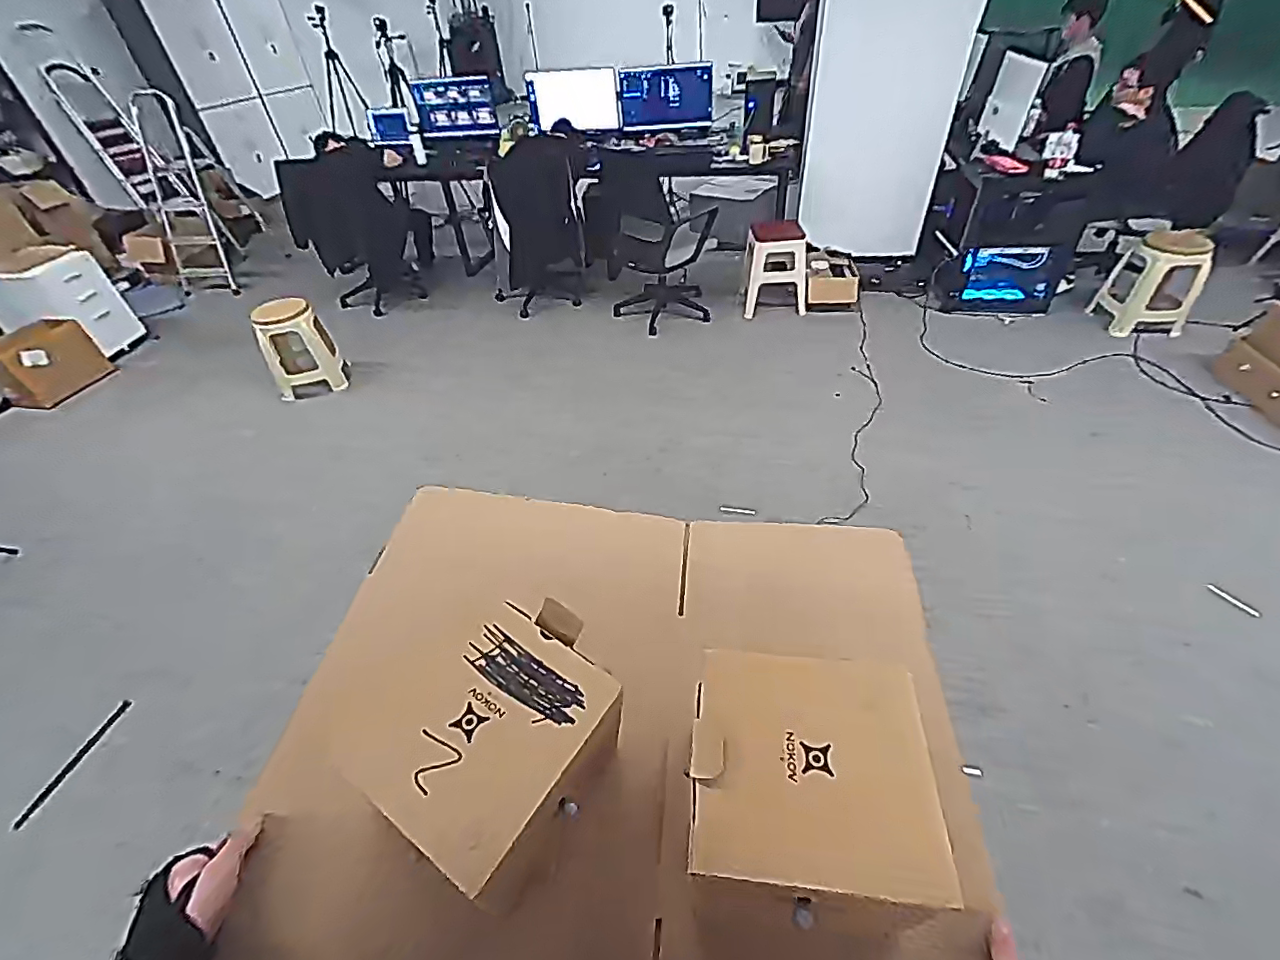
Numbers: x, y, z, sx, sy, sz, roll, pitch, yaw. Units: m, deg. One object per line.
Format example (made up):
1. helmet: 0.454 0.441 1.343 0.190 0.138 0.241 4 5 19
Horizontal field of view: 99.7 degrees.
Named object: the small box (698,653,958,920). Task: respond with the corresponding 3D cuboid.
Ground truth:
1. small box: 0.143 0.273 0.481 0.179 0.176 0.168 1 46 9
